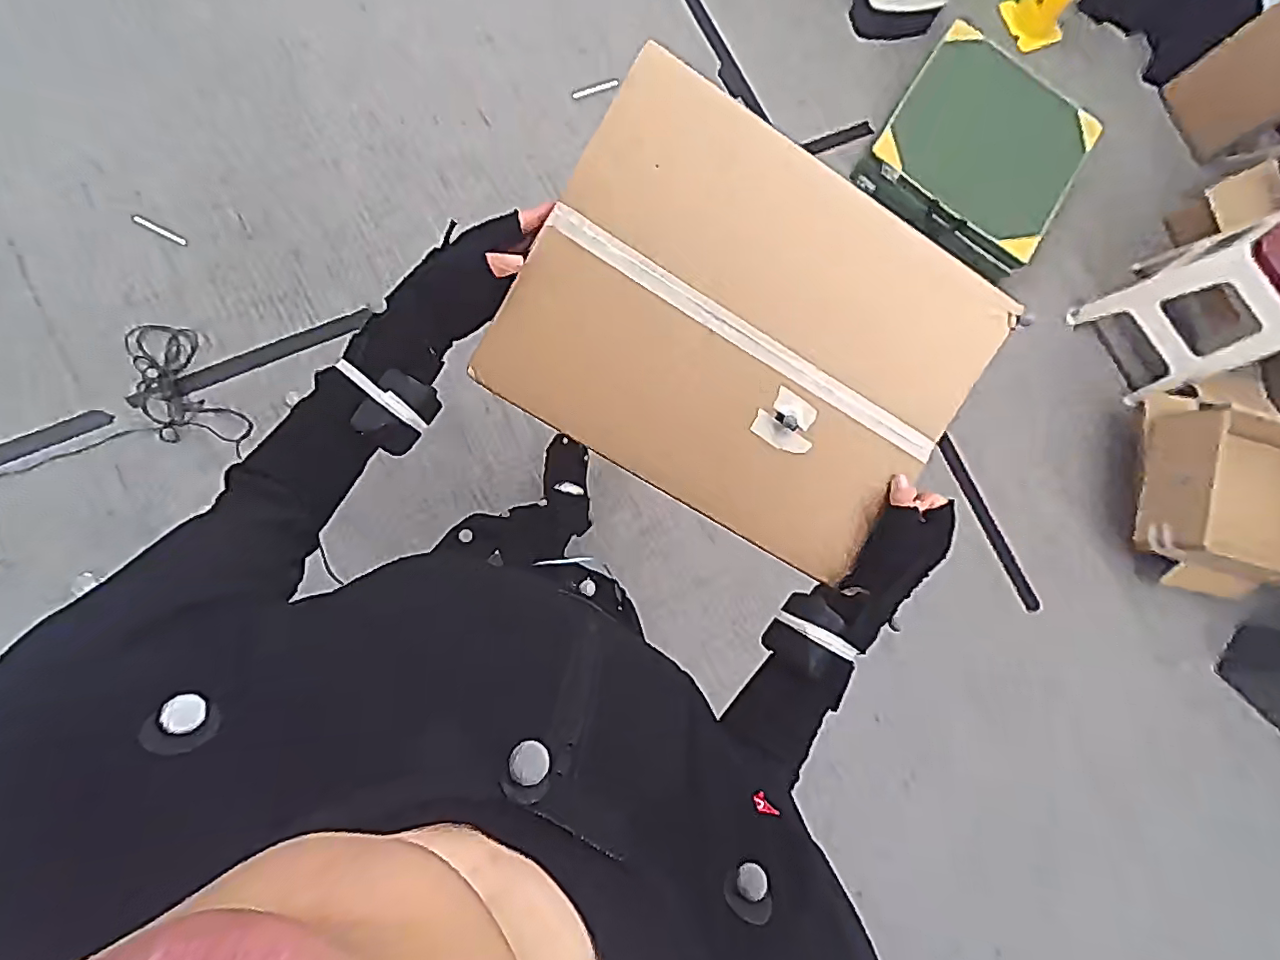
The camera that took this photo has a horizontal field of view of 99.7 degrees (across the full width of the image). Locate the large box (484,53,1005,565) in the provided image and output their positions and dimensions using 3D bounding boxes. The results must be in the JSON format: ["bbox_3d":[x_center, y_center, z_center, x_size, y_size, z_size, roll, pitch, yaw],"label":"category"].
[{"bbox_3d":[0.089,-0.162,0.643,0.408,0.320,0.320,30,97,-9],"label":"large box"}]
